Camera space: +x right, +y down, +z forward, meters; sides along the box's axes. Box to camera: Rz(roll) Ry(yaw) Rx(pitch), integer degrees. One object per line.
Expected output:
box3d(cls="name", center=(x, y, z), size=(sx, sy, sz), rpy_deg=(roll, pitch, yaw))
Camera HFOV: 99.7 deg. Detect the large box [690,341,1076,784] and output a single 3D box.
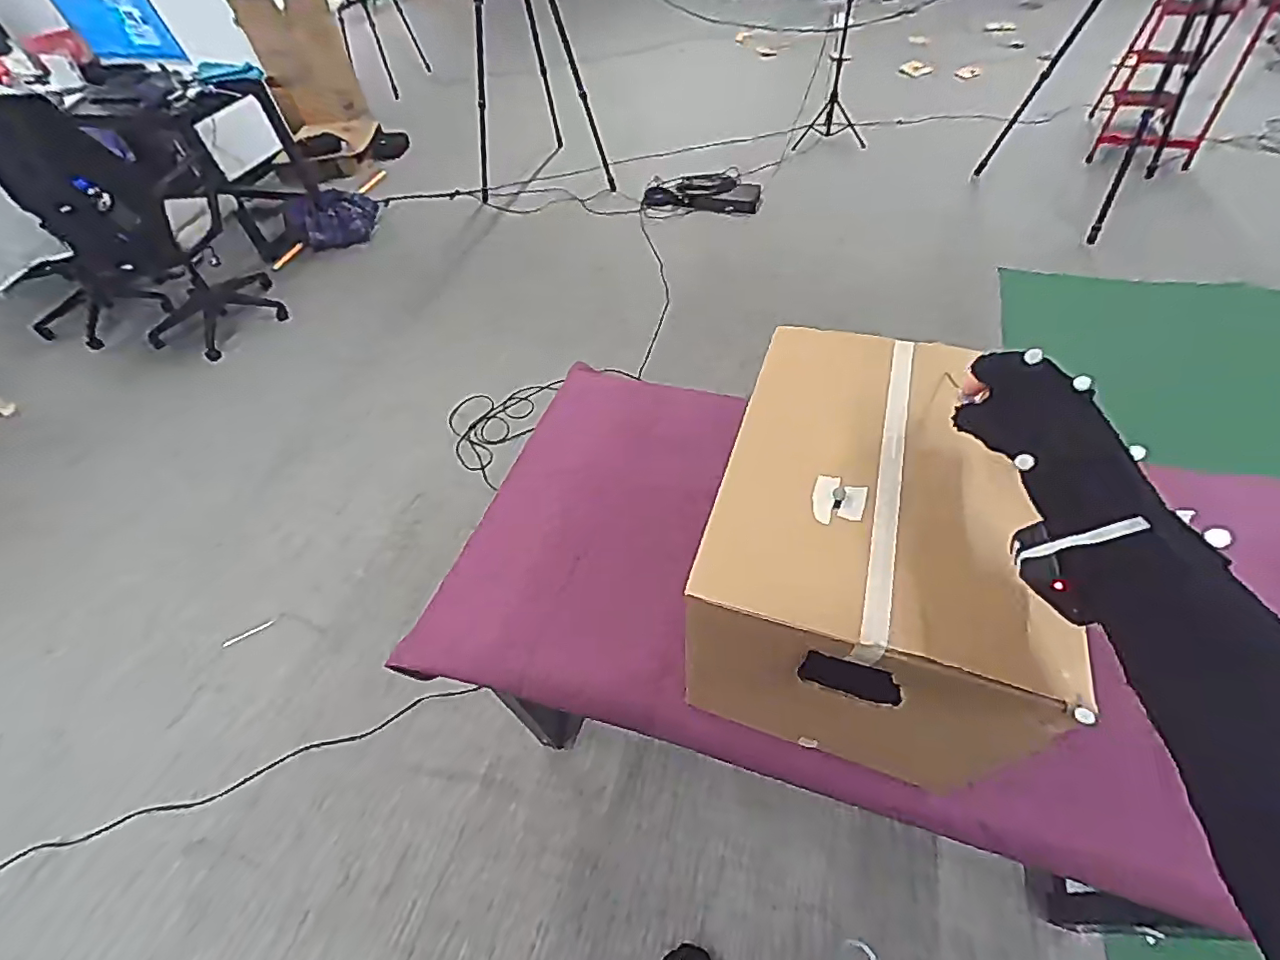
box3d(cls="large box", center=(0.264, 0.090, 0.678), size=(0.320, 0.320, 0.408), rpy_deg=(13, 54, 16))
